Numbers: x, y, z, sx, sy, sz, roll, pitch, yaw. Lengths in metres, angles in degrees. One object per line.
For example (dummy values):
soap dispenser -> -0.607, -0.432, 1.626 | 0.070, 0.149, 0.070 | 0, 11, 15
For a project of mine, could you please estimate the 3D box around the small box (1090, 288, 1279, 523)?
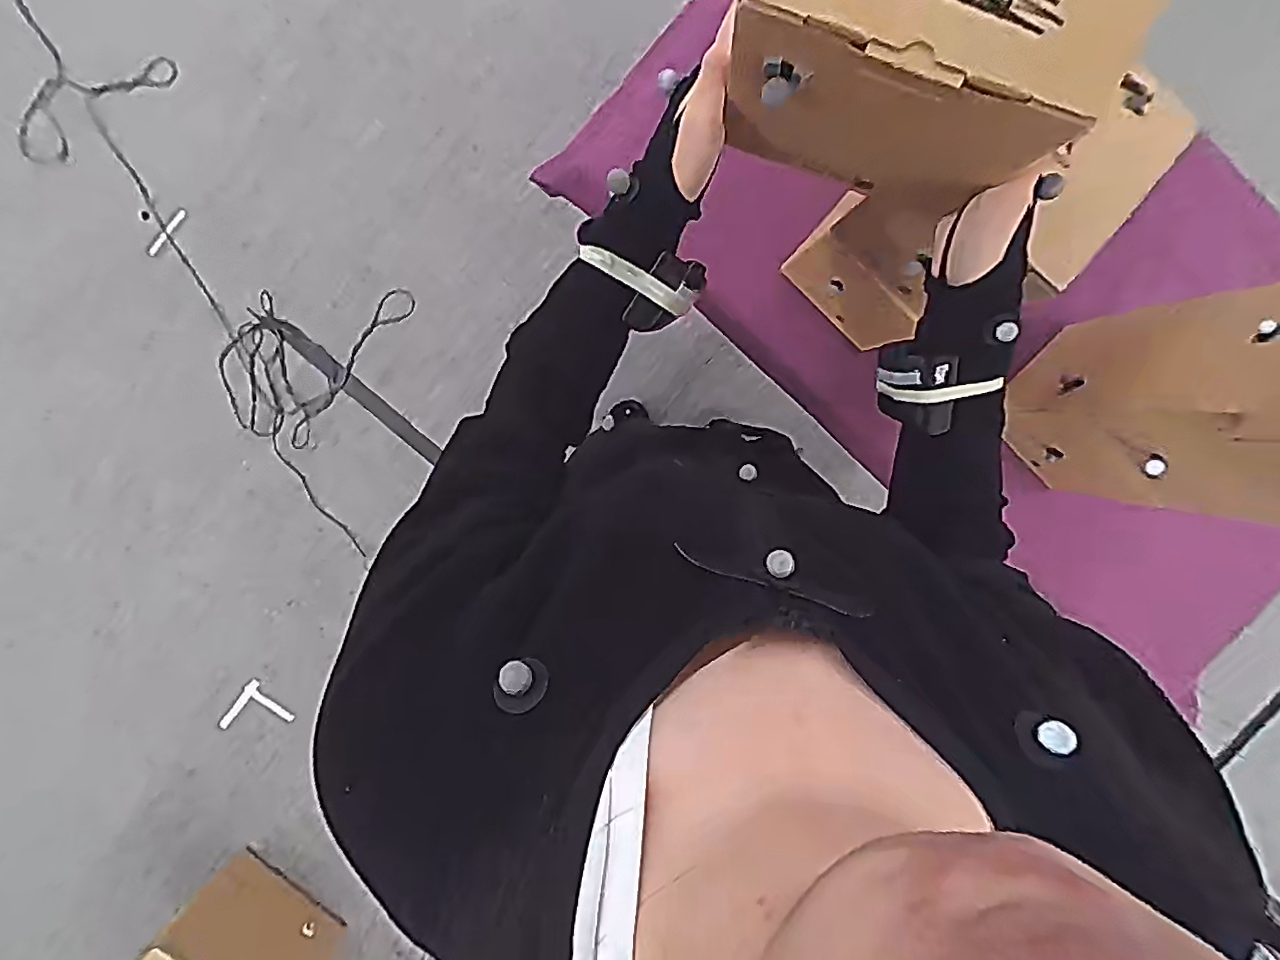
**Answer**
small box -> 0.624, -0.078, 0.543 | 0.168, 0.176, 0.179 | 44, 94, -7

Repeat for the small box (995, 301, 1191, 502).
small box -> 0.611, -0.098, 0.706 | 0.168, 0.176, 0.179 | 44, 93, -7

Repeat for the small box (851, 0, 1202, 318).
small box -> 0.328, -0.278, 0.505 | 0.168, 0.176, 0.179 | 39, 93, -7

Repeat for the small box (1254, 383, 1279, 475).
small box -> 0.619, -0.041, 0.384 | 0.168, 0.176, 0.179 | 40, 93, -7

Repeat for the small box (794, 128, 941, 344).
small box -> 0.315, -0.291, 0.668 | 0.168, 0.176, 0.179 | 42, 92, -7
